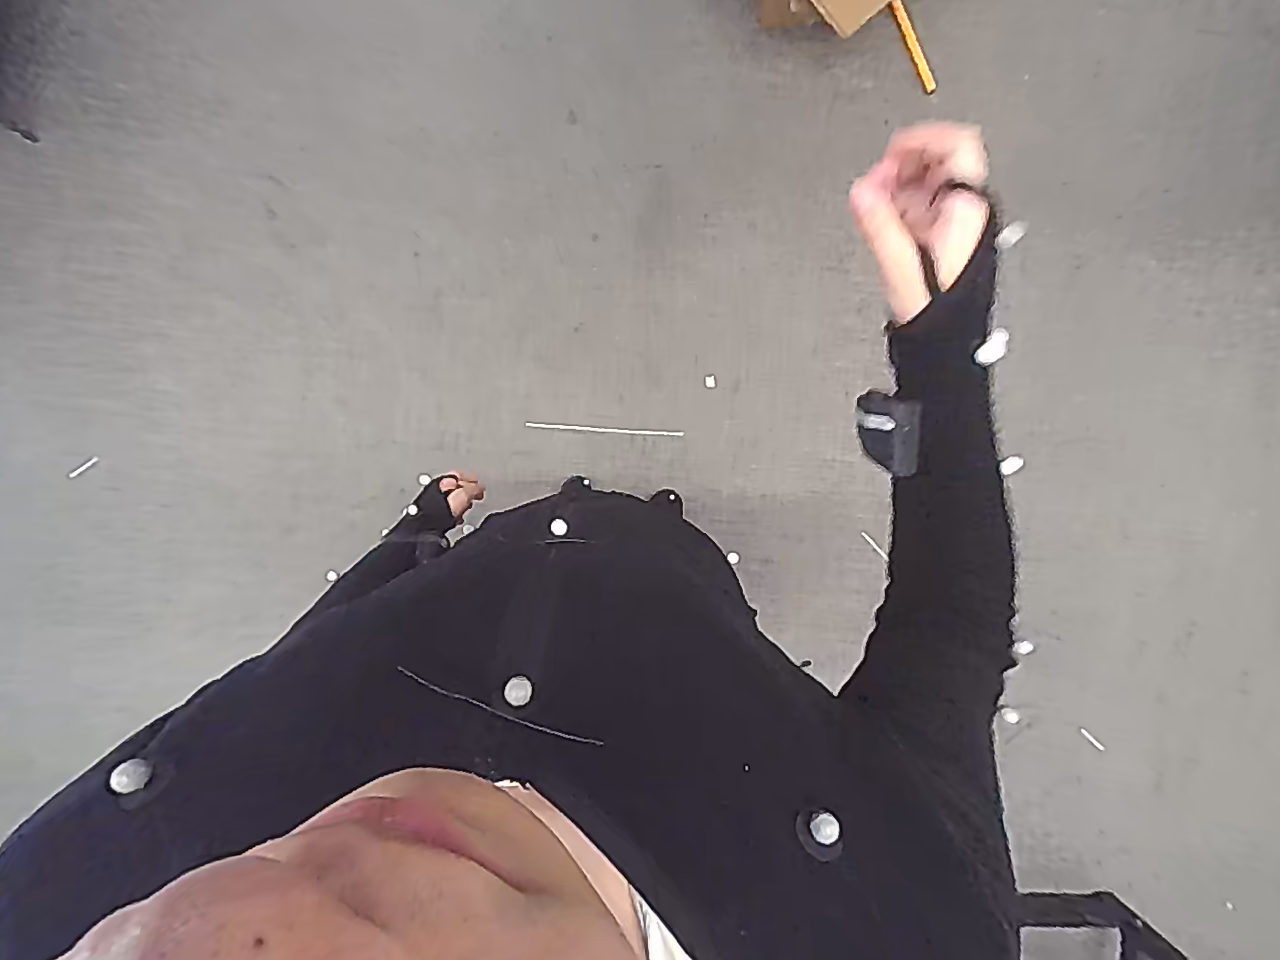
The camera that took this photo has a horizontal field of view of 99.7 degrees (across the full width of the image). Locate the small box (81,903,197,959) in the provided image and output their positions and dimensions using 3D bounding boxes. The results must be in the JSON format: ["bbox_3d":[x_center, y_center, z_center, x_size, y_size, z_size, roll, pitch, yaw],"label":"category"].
[{"bbox_3d":[-1.363,1.303,1.477,0.179,0.176,0.168,4,89,-1],"label":"small box"}]

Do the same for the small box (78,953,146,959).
[{"bbox_3d":[-1.362,1.304,1.313,0.179,0.176,0.168,6,91,-2],"label":"small box"}]
